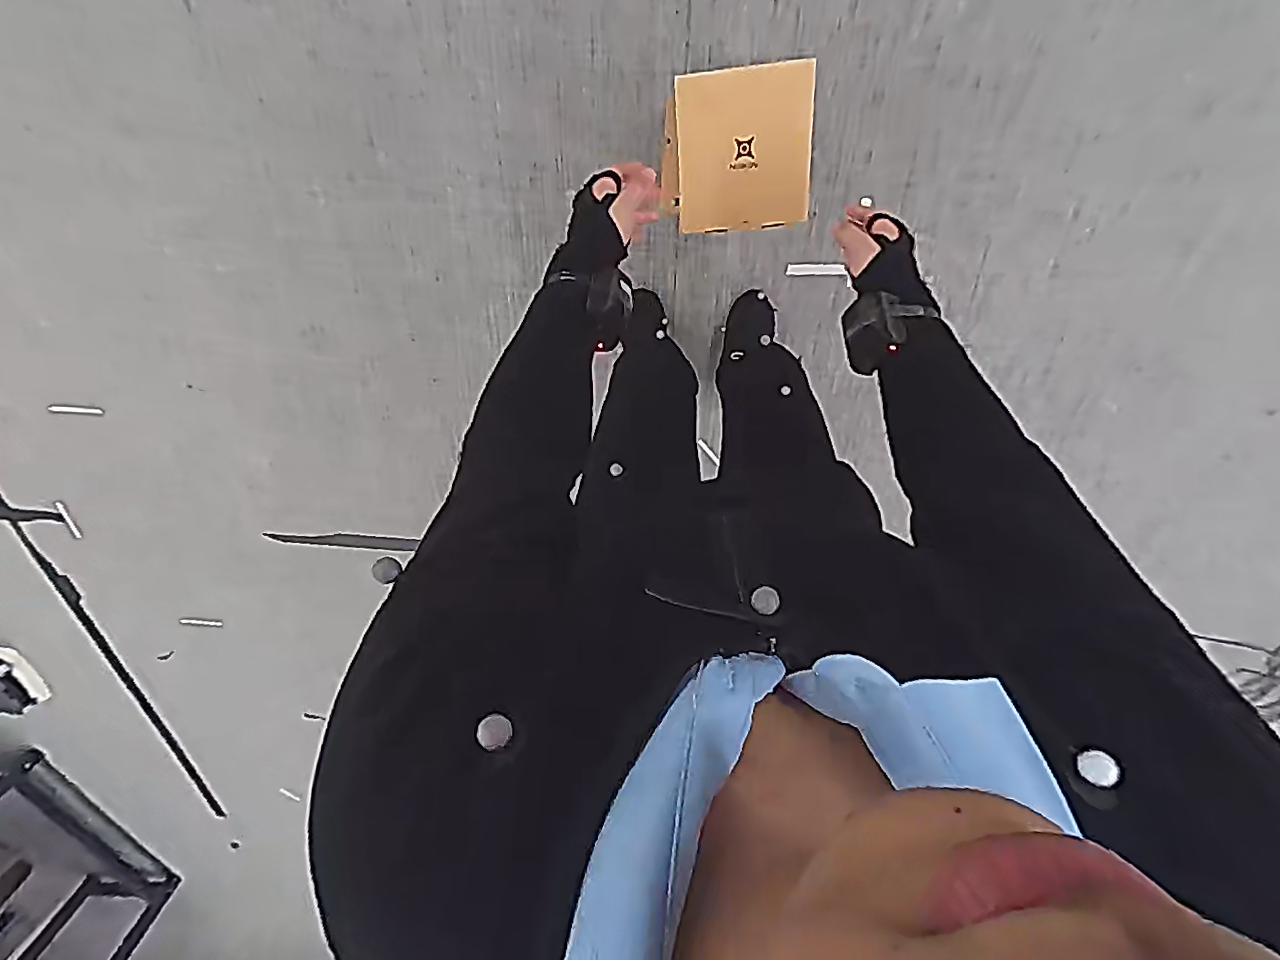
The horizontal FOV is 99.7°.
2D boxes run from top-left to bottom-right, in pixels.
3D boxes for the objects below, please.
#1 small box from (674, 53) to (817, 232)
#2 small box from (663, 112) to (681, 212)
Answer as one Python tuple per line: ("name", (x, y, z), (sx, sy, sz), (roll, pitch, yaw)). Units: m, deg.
("small box", (0.133, -0.445, 0.730), (0.168, 0.176, 0.179), (-3, 121, 6))
("small box", (0.130, -0.527, 0.871), (0.168, 0.176, 0.179), (7, 121, 1))
